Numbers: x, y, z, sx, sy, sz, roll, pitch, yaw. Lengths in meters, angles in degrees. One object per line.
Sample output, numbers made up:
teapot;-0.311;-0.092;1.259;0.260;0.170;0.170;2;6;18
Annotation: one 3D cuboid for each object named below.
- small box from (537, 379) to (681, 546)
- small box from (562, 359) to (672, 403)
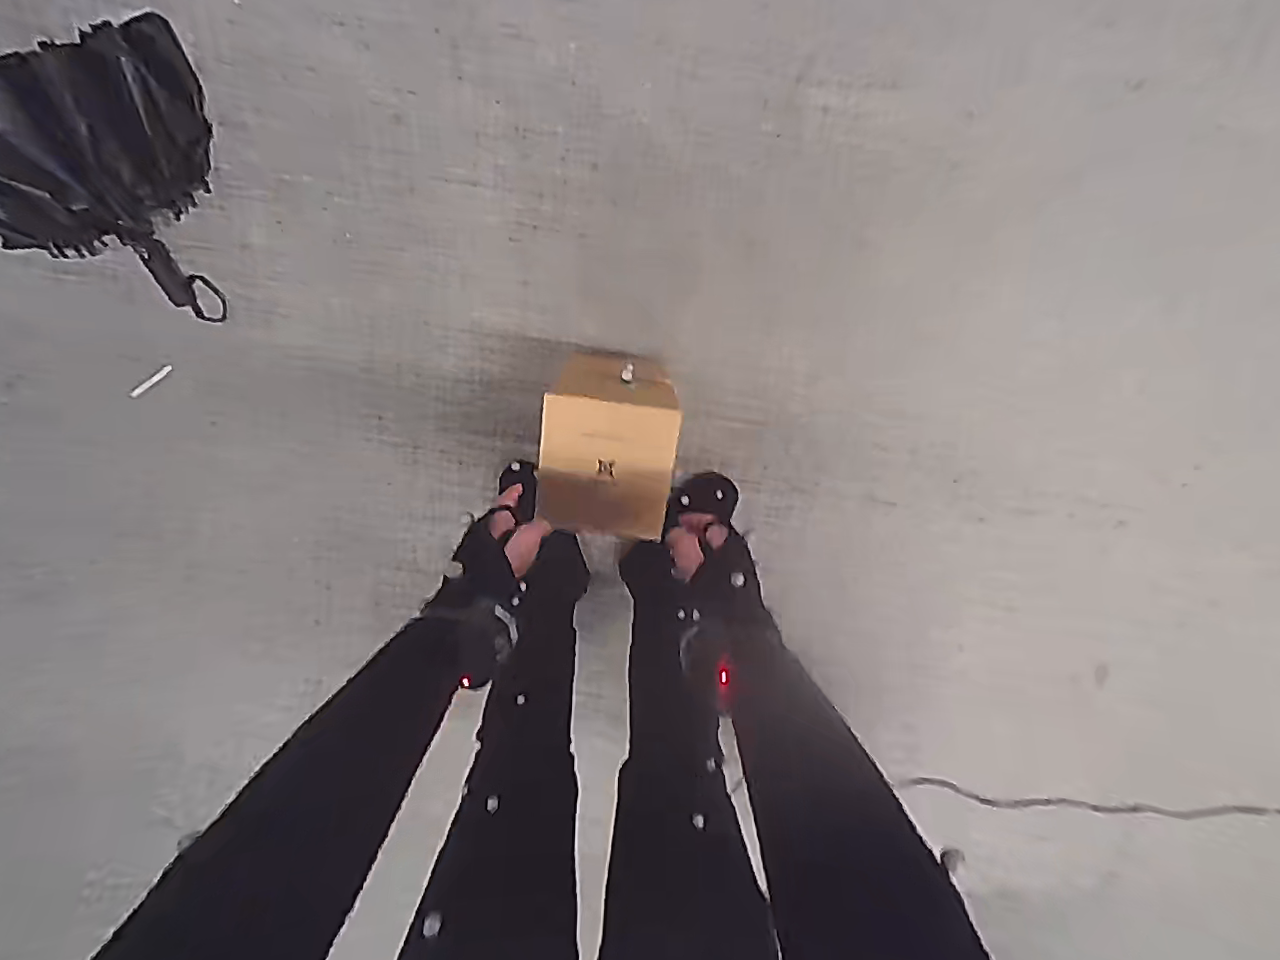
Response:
small box;-0.042;-0.030;0.744;0.168;0.176;0.179;6;110;-4
small box;-0.041;-0.092;0.894;0.168;0.176;0.179;5;112;-3
